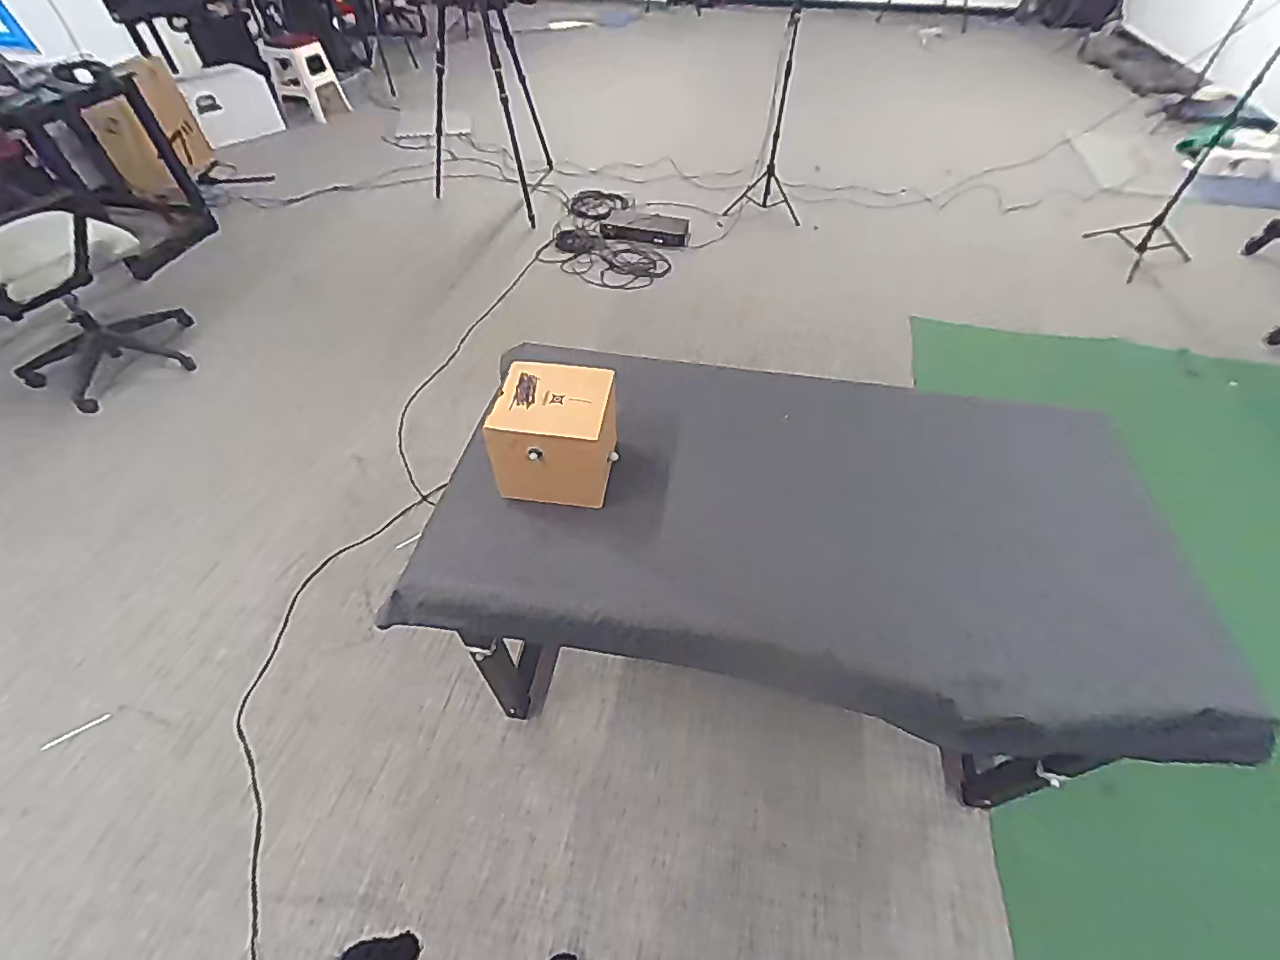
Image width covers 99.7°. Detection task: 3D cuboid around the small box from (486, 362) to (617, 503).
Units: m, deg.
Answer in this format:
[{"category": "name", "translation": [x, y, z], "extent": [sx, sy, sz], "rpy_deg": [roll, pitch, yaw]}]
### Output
[{"category": "small box", "translation": [-0.137, -0.077, 0.915], "extent": [0.179, 0.176, 0.168], "rpy_deg": [7, 50, 3]}]
